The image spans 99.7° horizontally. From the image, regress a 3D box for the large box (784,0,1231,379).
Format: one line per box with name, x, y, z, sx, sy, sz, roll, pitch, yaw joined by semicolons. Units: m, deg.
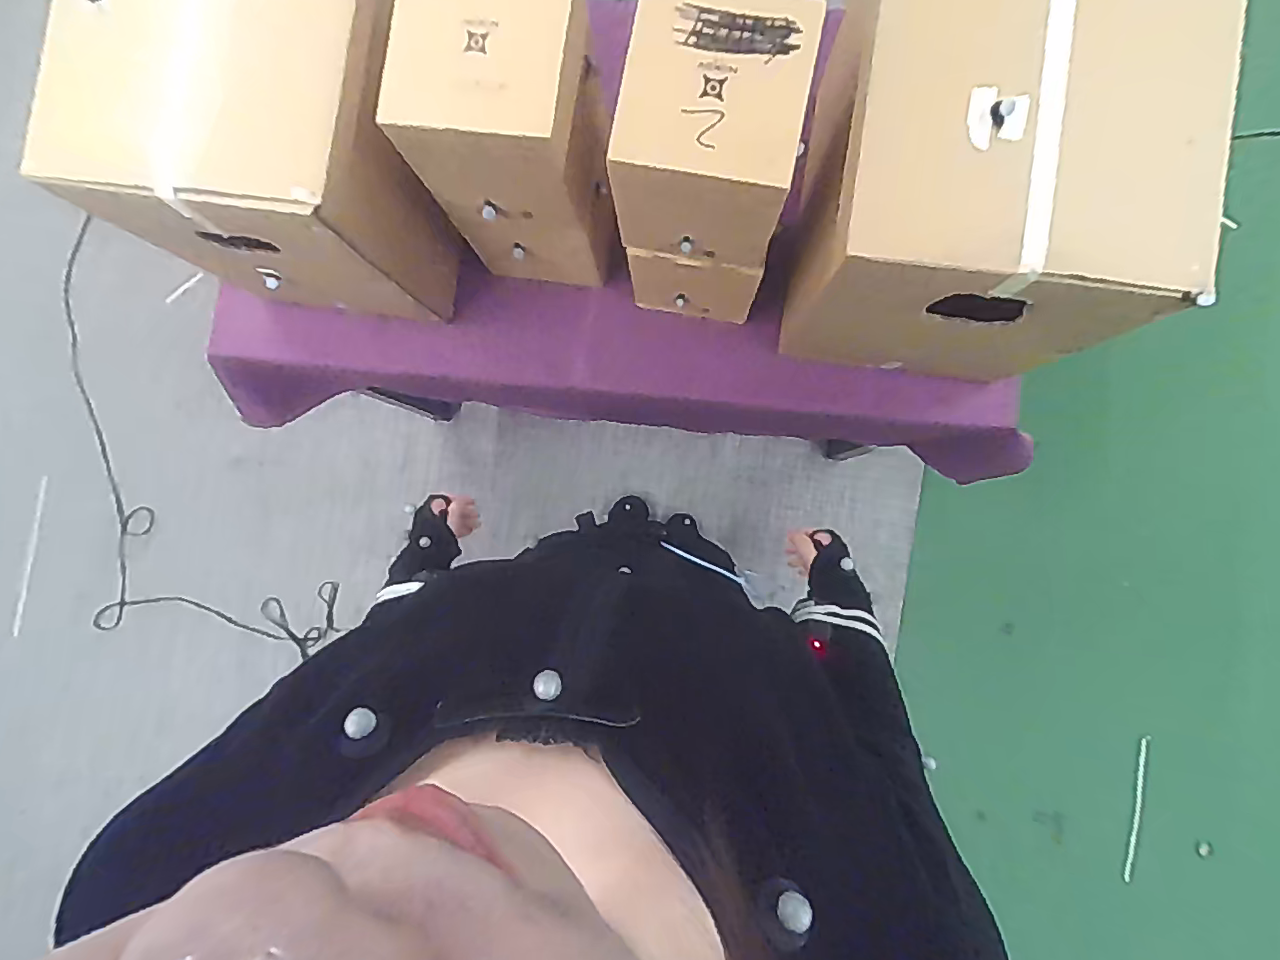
large box;0.381;-0.368;0.645;0.320;0.320;0.408;9;88;3
